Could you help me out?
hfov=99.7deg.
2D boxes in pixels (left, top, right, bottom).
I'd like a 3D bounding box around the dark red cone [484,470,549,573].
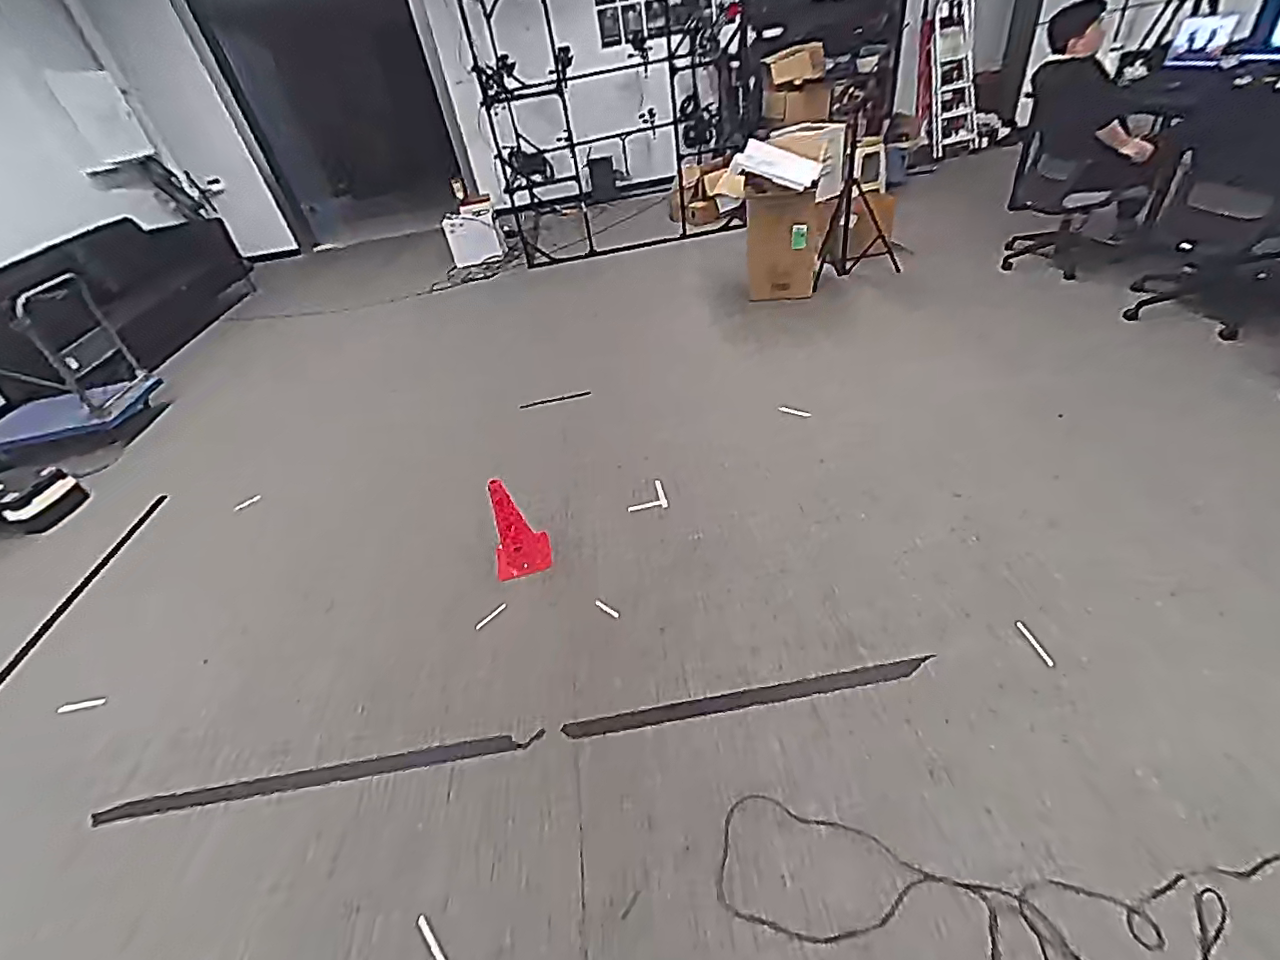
[{"bbox_3d":[-0.462,0.127,1.873,0.202,0.394,0.201,-16,40,-6],"label":"dark red cone"}]
